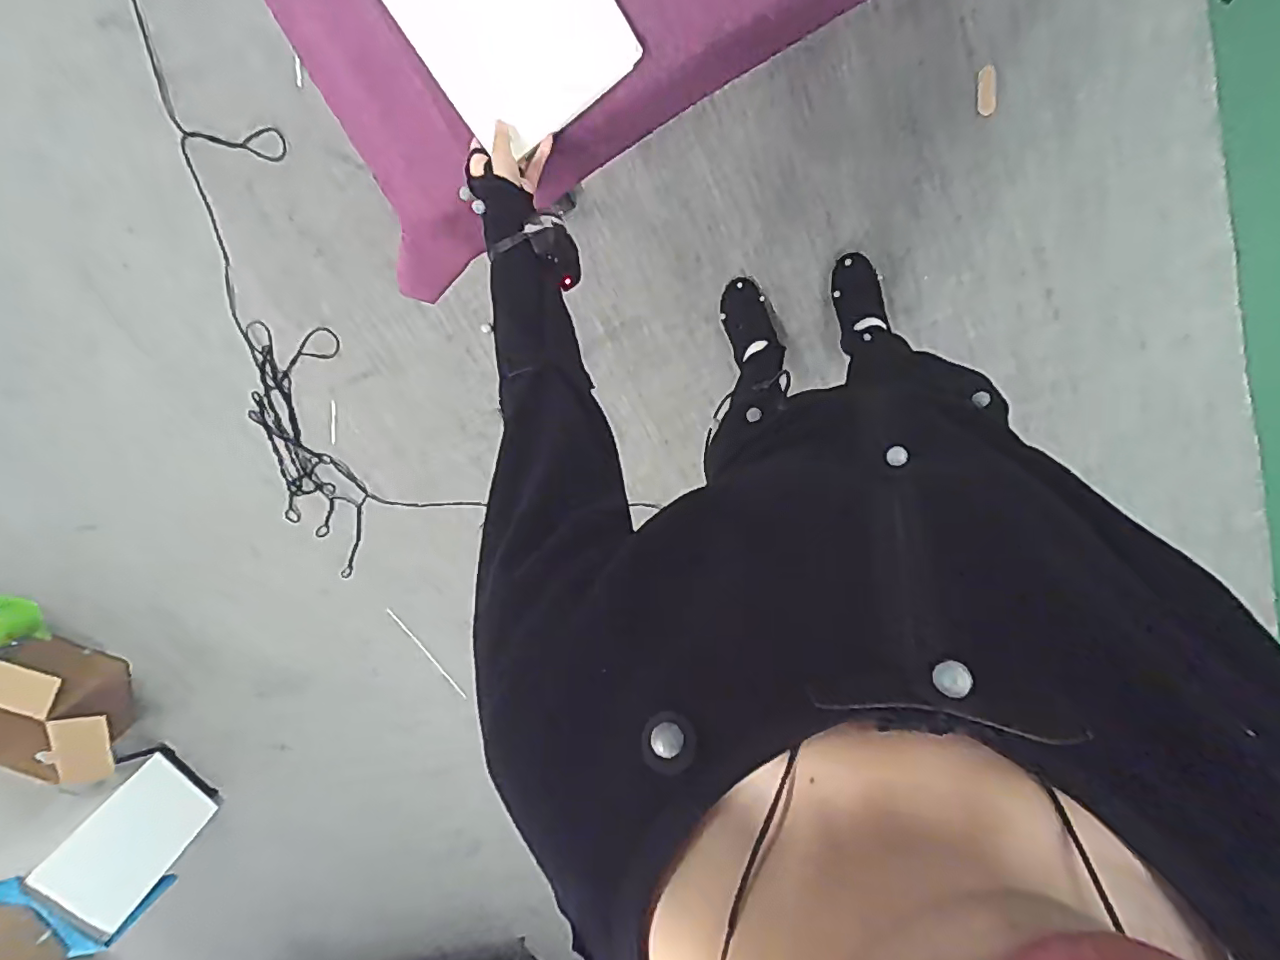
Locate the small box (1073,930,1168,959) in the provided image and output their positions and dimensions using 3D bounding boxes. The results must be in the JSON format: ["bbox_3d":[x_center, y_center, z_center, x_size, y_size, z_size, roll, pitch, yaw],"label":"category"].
[{"bbox_3d":[1.180,1.203,1.273,0.168,0.176,0.179,-39,105,22],"label":"small box"}]

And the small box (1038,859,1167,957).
[{"bbox_3d":[1.202,1.137,1.421,0.168,0.176,0.179,-38,105,22],"label":"small box"}]
